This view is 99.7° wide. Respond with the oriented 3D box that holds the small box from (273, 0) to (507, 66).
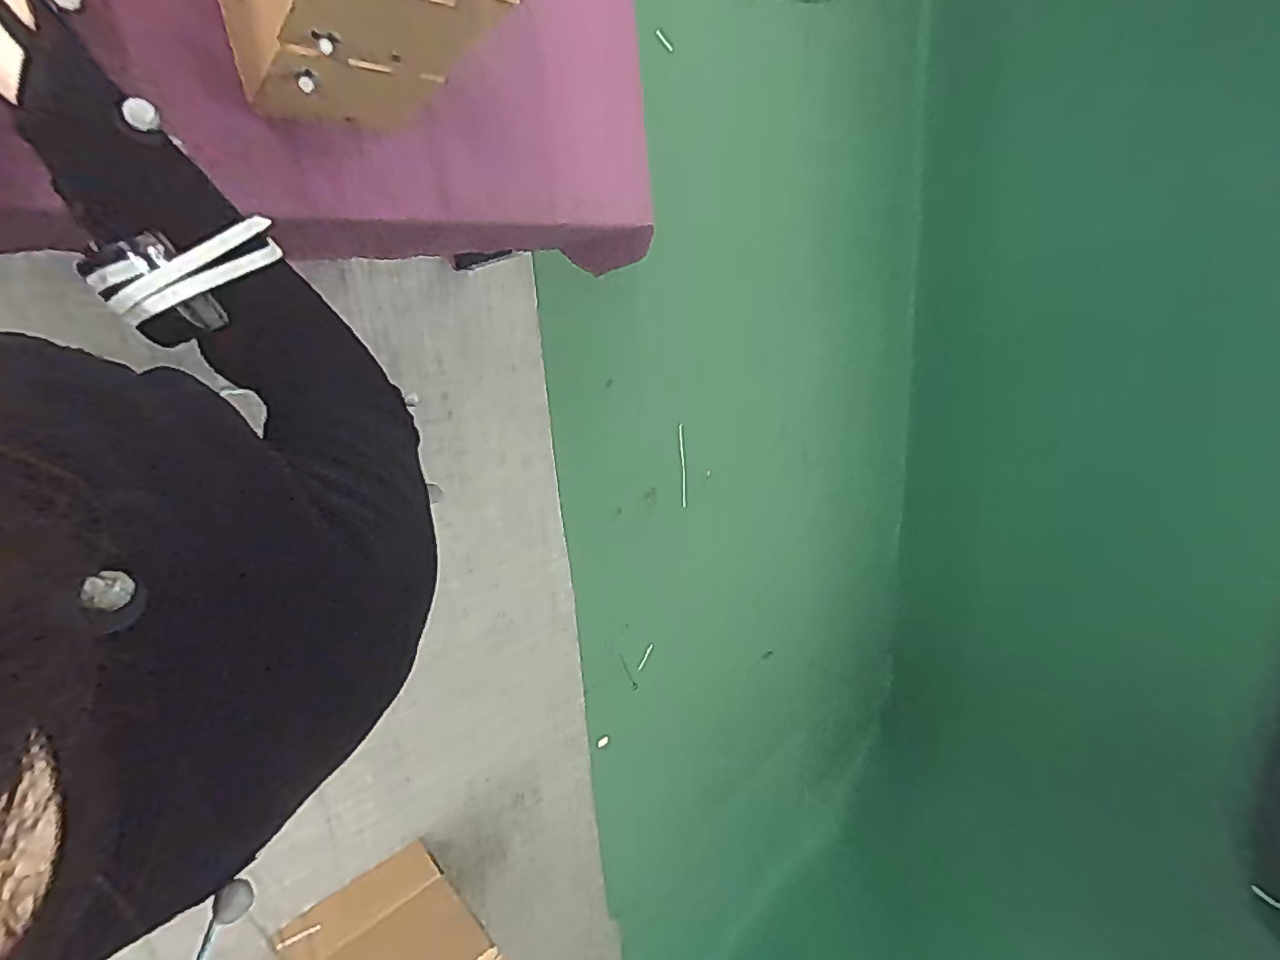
[{"bbox_3d":[-0.231,-0.503,0.470,0.168,0.176,0.179,-23,111,-40],"label":"small box"}]
